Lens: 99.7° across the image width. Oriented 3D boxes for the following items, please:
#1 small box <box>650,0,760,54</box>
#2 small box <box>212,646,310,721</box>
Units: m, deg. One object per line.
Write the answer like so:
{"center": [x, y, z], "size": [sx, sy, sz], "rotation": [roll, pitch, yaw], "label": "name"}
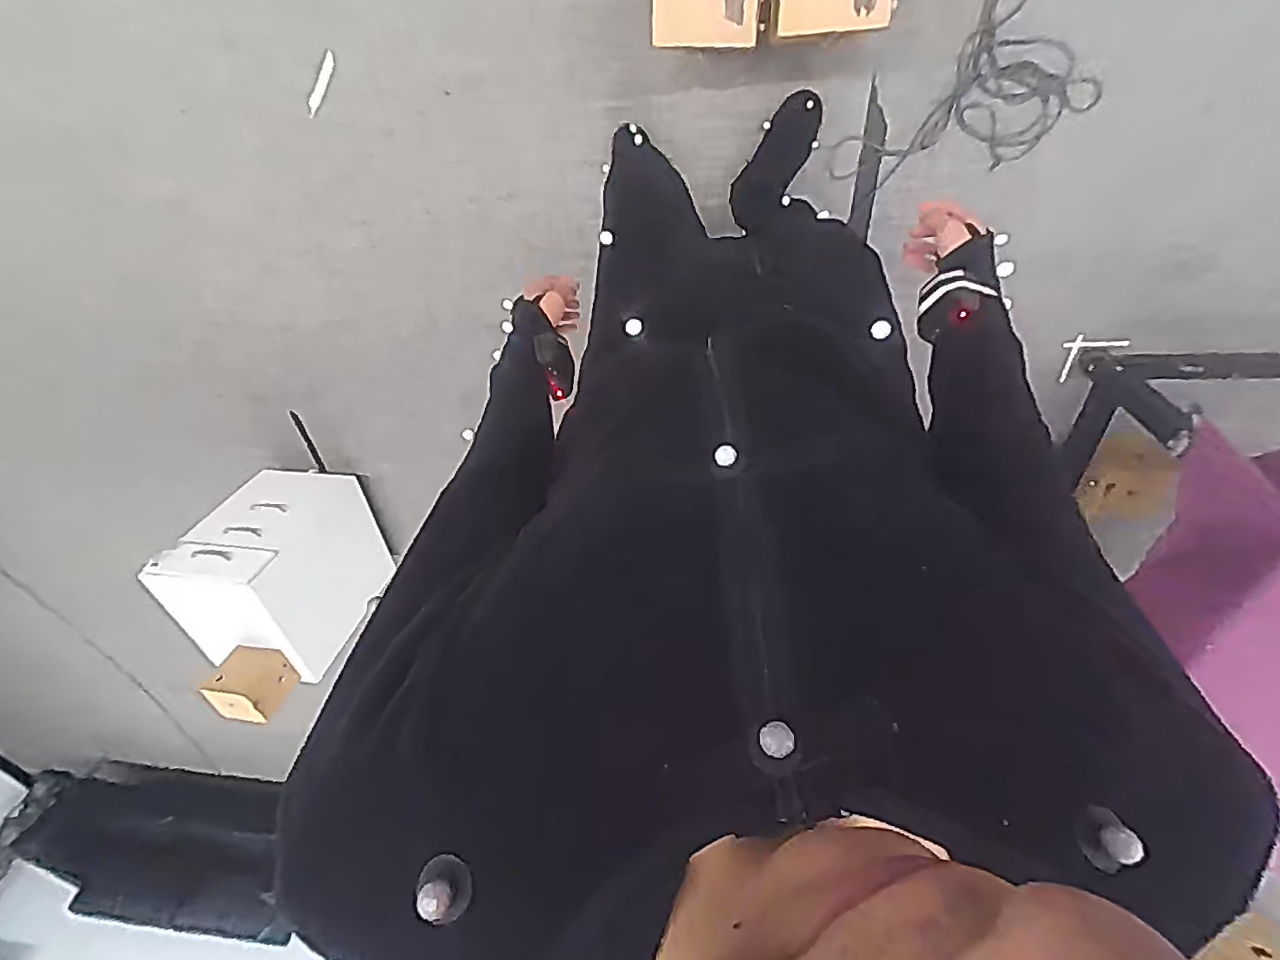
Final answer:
{"center": [0.117, -0.833, 0.917], "size": [0.179, 0.176, 0.168], "rotation": [7, 128, 9], "label": "small box"}
{"center": [-1.270, 0.681, 1.826], "size": [0.179, 0.176, 0.168], "rotation": [3, 128, 10], "label": "small box"}
